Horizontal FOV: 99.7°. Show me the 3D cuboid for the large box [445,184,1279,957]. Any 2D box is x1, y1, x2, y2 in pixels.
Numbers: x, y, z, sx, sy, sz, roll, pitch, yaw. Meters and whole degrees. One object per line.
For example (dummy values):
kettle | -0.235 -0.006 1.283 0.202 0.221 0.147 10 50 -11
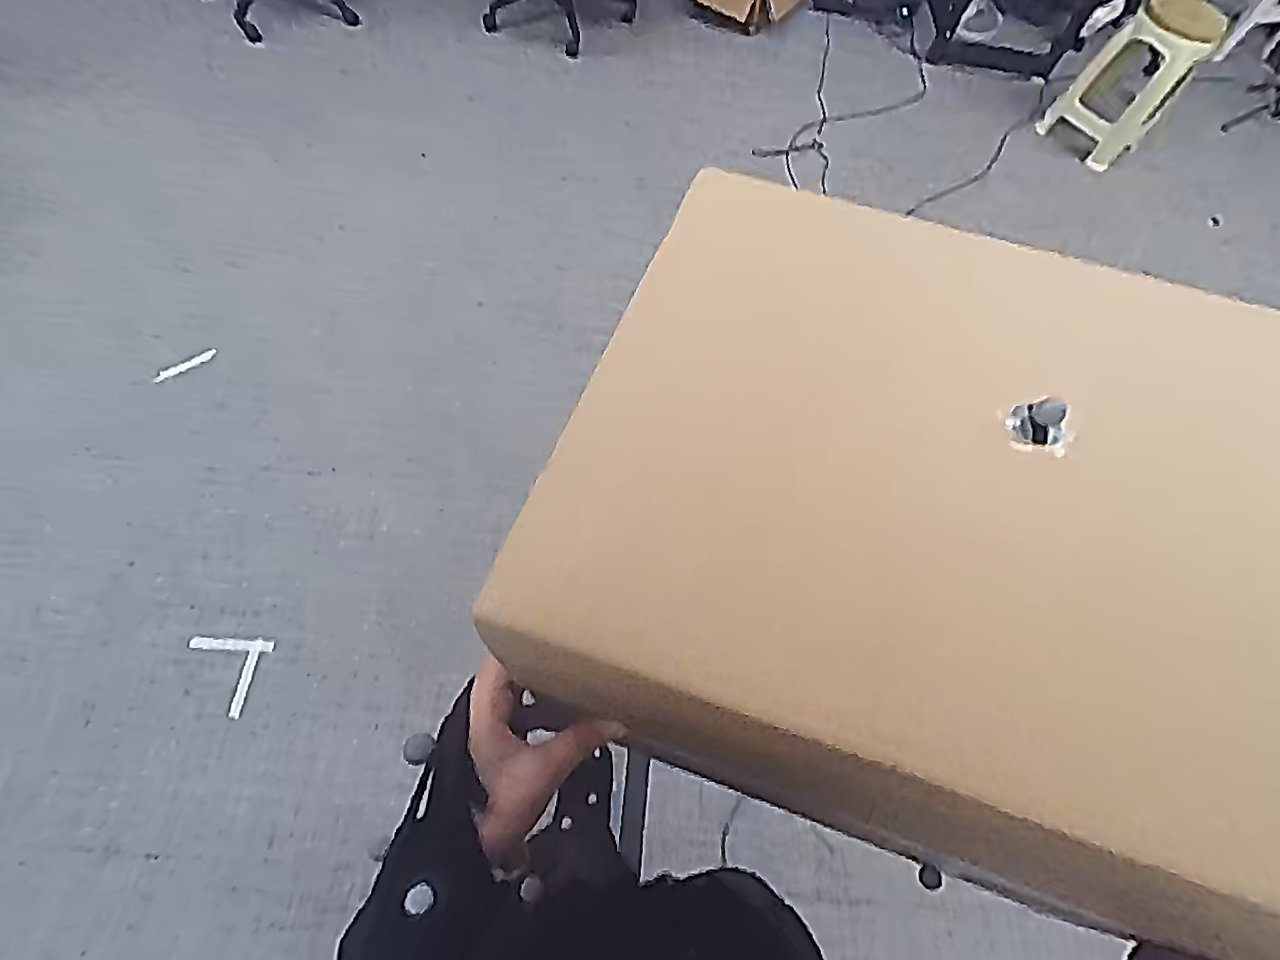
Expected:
large box | 0.153 0.053 0.377 0.408 0.320 0.320 16 62 7
